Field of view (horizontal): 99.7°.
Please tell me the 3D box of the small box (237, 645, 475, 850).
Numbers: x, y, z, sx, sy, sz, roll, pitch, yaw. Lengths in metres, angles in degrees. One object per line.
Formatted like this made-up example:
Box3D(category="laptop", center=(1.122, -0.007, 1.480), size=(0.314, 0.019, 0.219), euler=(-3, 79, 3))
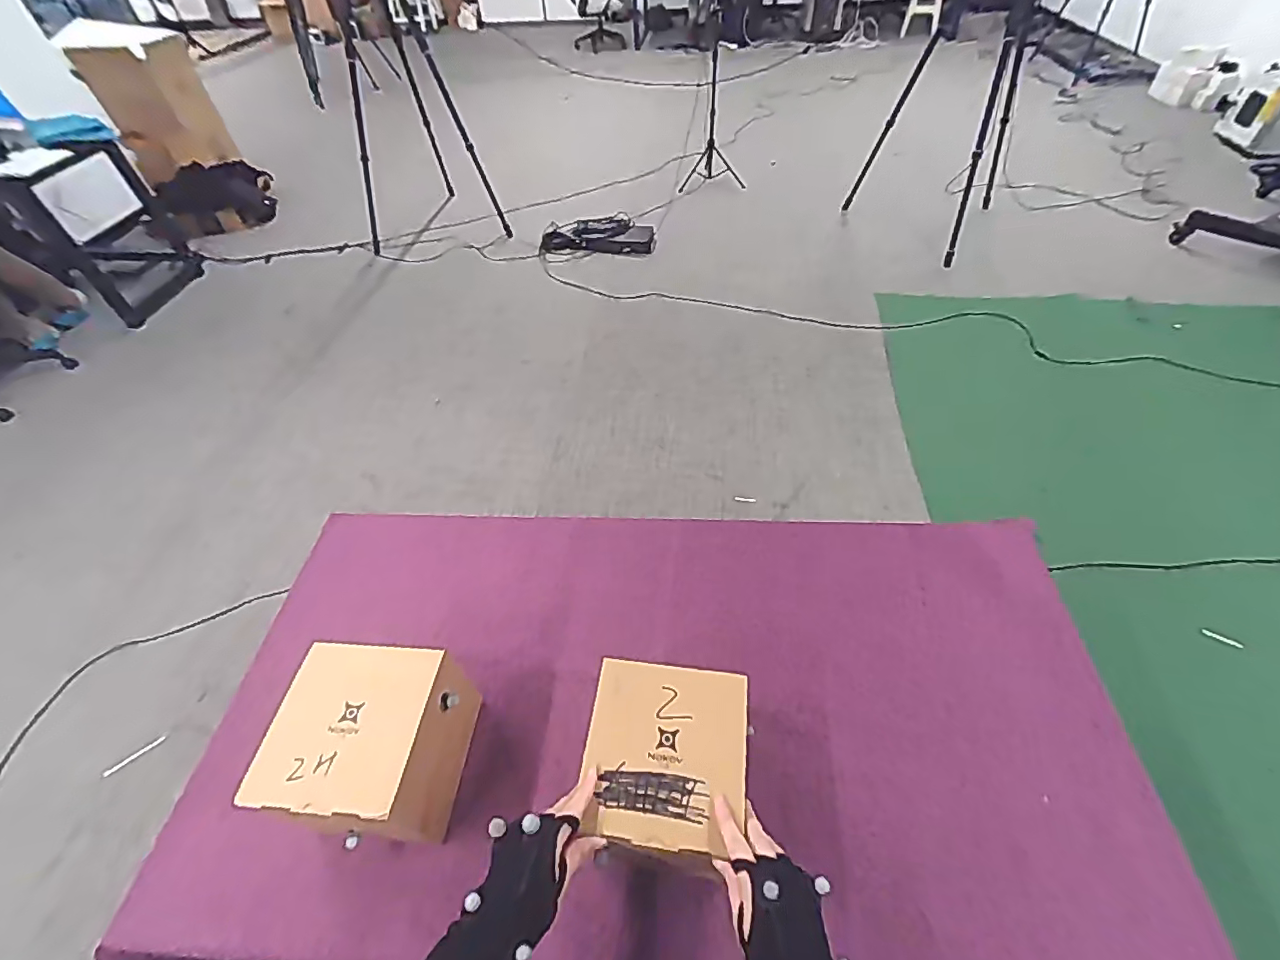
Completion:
Box3D(category="small box", center=(-0.313, 0.319, 0.646), size=(0.168, 0.176, 0.179), euler=(1, 48, 5))
